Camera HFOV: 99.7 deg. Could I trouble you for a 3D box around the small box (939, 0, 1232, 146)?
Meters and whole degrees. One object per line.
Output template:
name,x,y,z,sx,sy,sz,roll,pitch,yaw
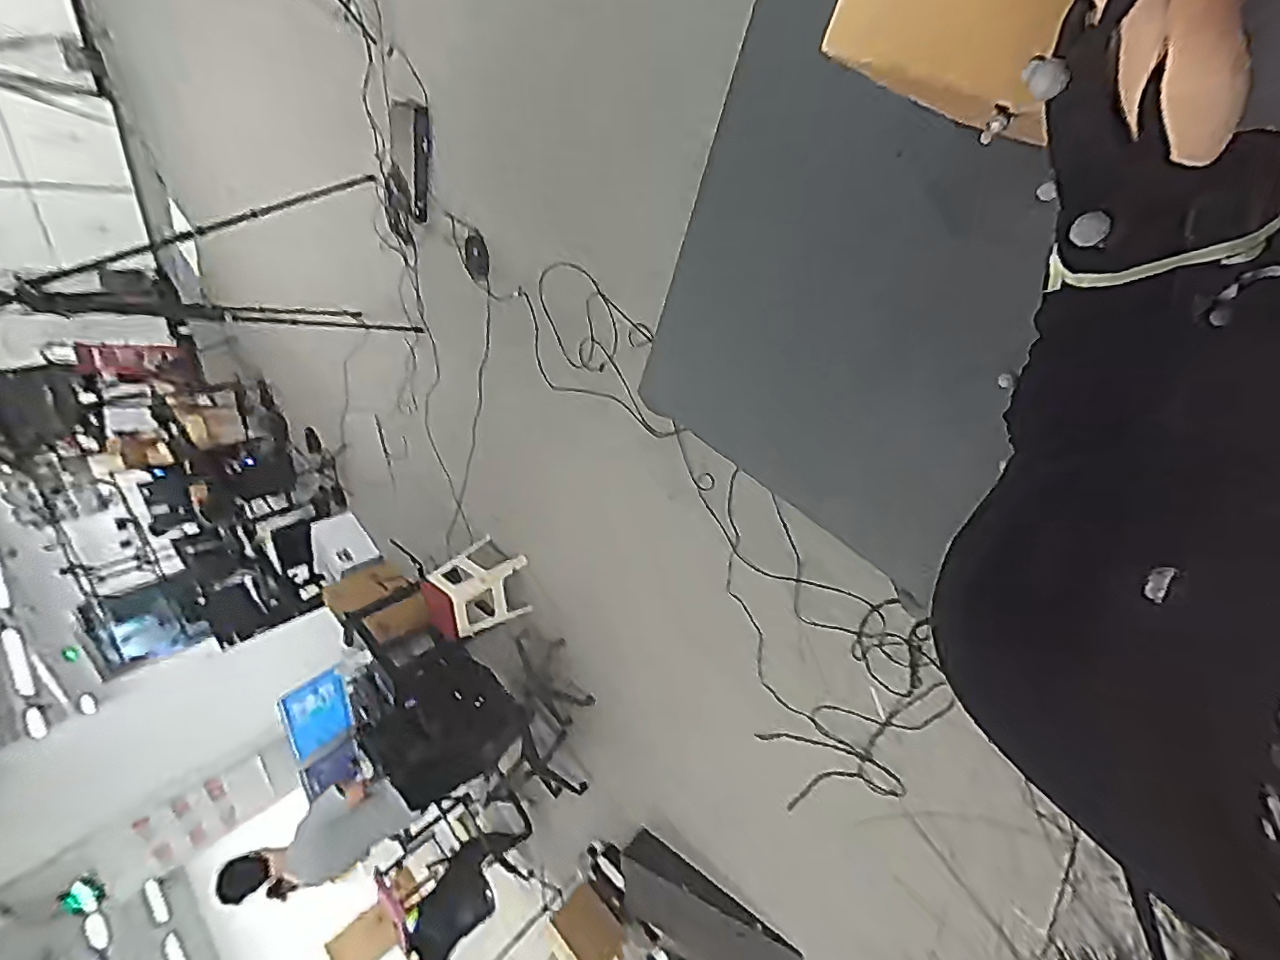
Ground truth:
small box,0.382,-0.408,0.469,0.179,0.176,0.168,39,133,26

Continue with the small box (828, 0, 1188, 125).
small box,0.269,-0.360,0.363,0.179,0.176,0.168,38,131,26
